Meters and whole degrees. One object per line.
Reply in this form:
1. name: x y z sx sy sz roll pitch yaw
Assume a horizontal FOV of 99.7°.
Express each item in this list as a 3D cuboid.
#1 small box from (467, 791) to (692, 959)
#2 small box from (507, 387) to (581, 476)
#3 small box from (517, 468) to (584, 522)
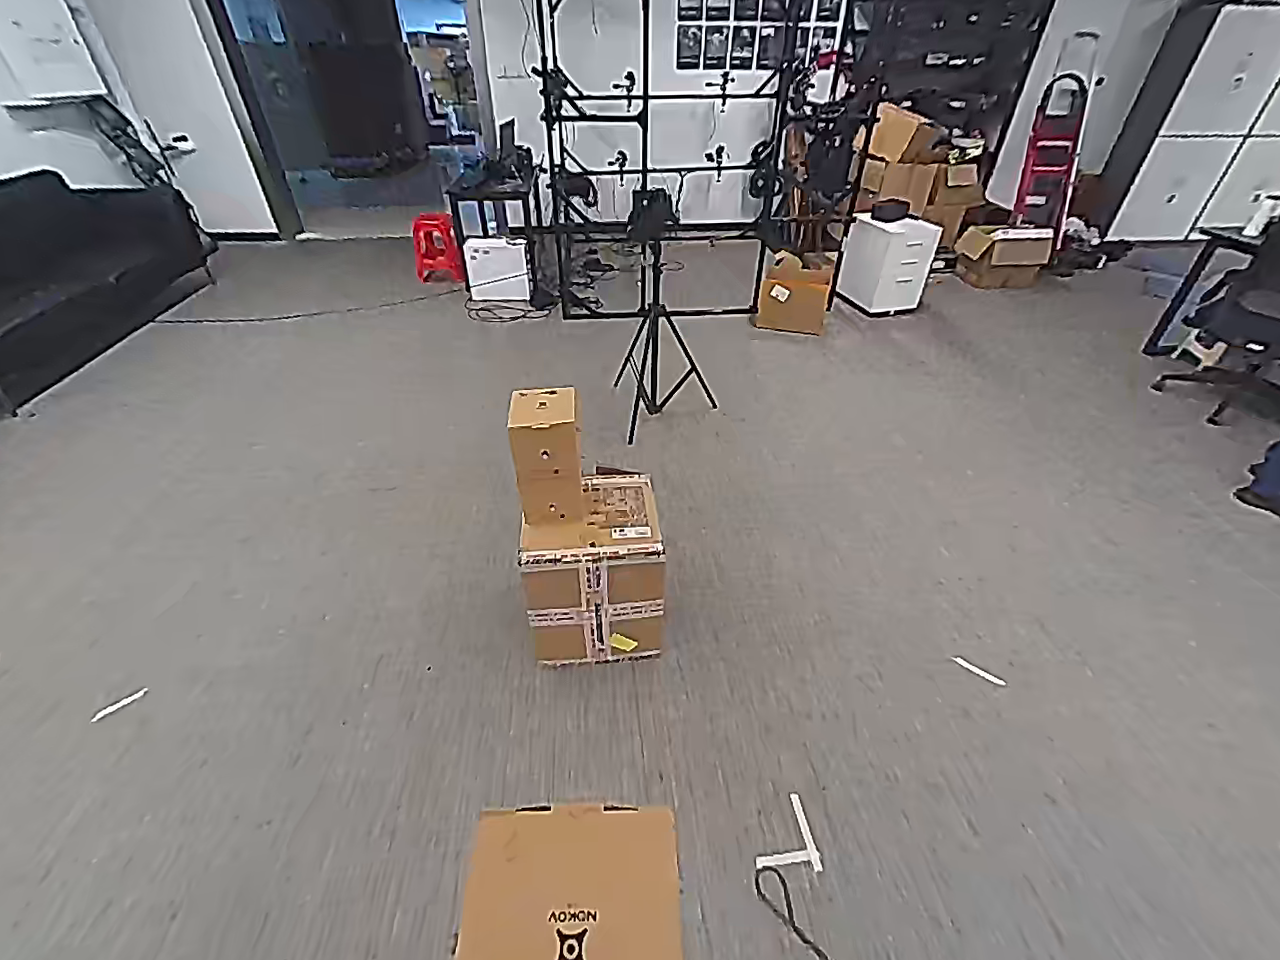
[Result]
1. small box: -0.049 0.389 0.463 0.168 0.176 0.179 1 46 -4
2. small box: -0.247 -0.122 1.425 0.168 0.176 0.179 -5 41 -3
3. small box: -0.249 -0.002 1.538 0.168 0.176 0.179 -6 41 -4
